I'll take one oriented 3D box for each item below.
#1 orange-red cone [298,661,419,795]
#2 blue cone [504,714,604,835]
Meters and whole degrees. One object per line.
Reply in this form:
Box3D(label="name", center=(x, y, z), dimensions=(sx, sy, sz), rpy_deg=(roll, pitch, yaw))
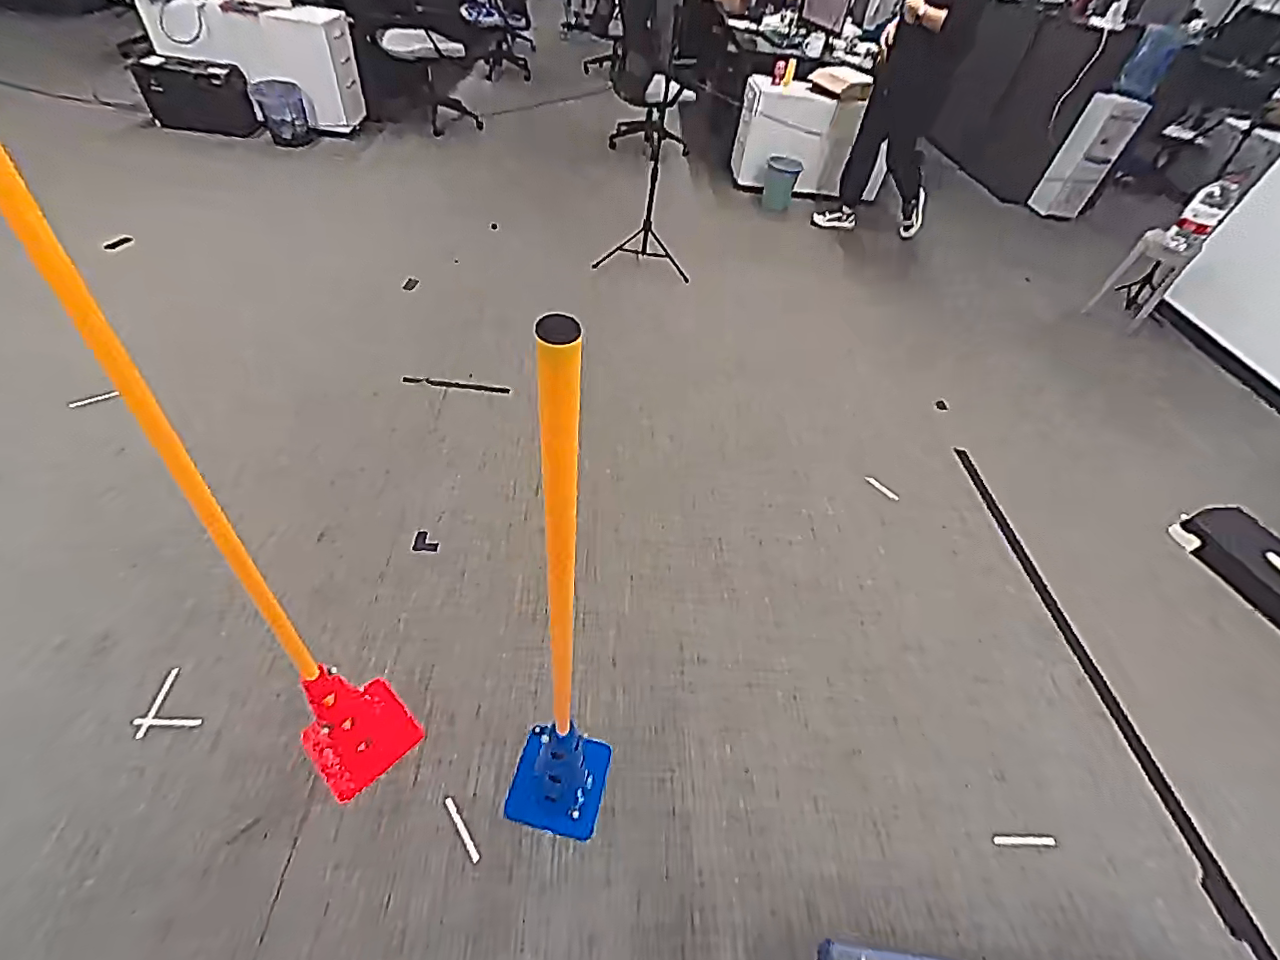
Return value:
Box3D(label="orange-red cone", center=(-0.599, 0.449, 1.076), dimensions=(0.198, 0.360, 0.199), rpy_deg=(-34, 62, -32))
Box3D(label="blue cone", center=(-0.167, 0.551, 1.075), dimensions=(0.192, 0.380, 0.193), rpy_deg=(15, 47, 5))
